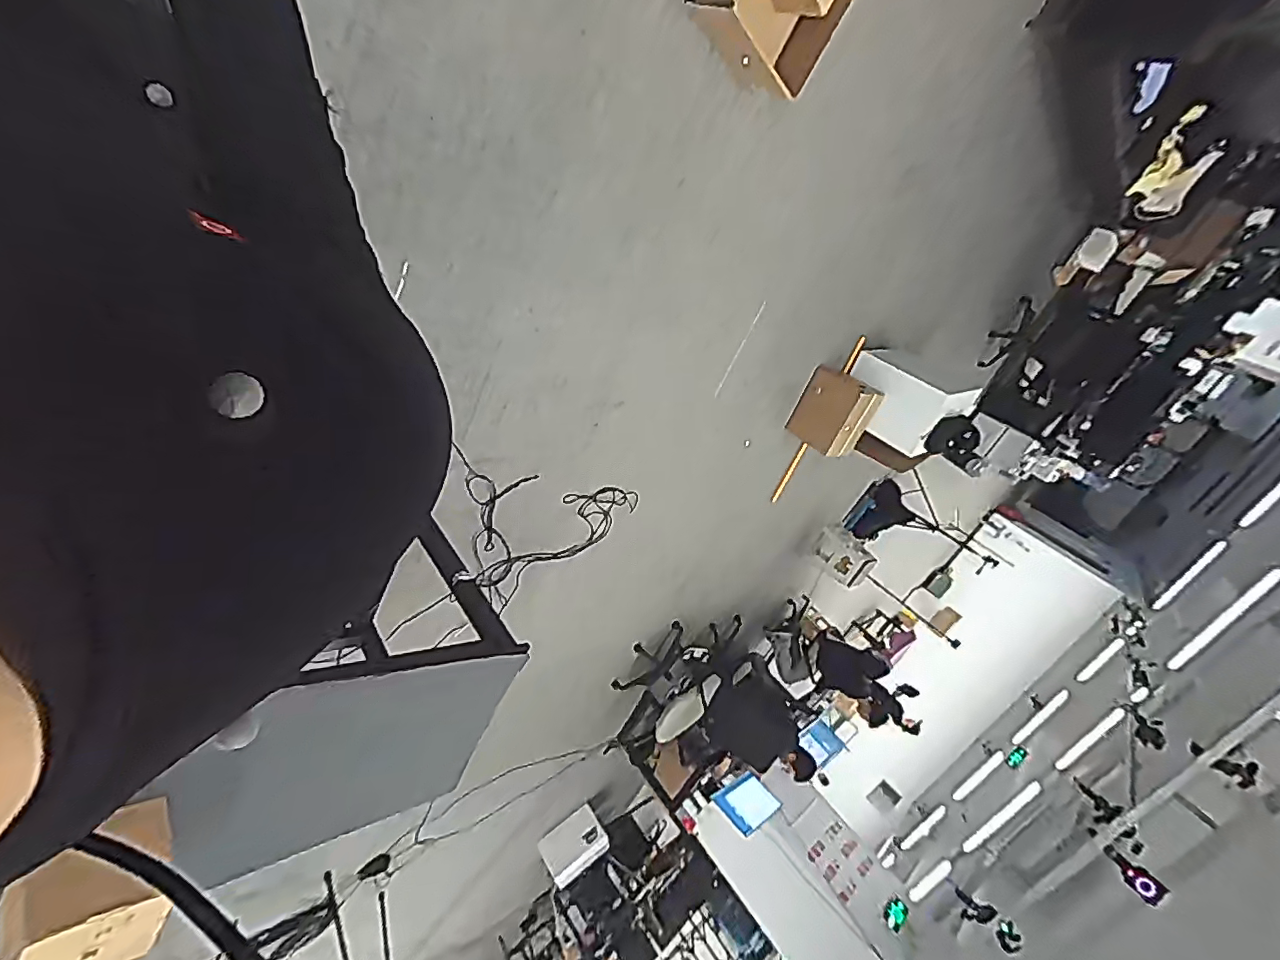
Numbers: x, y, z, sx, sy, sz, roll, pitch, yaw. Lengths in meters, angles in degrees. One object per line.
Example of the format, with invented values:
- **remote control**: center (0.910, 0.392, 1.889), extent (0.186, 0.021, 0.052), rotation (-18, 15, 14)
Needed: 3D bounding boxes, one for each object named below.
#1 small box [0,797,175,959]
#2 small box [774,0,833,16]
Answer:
- **small box**: center (-0.869, 0.646, 0.850), extent (0.168, 0.176, 0.179), rotation (13, 114, -53)
- **small box**: center (0.444, -1.386, 1.430), extent (0.168, 0.176, 0.179), rotation (11, 114, -53)
